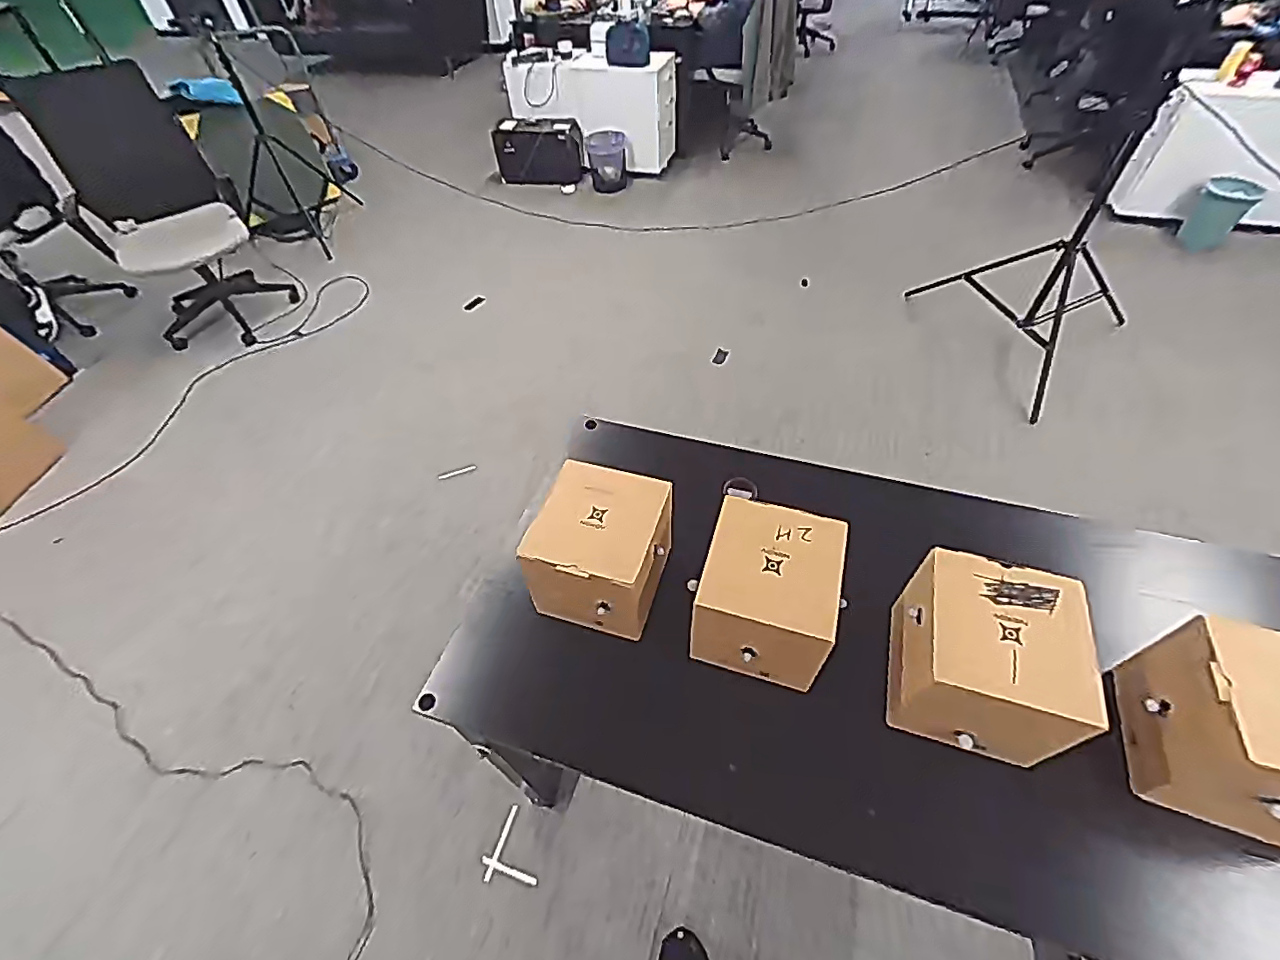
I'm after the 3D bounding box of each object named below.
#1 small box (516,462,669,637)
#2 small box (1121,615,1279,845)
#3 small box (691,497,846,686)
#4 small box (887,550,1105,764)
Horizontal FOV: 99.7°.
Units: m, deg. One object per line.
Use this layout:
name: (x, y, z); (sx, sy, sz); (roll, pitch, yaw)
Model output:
small box: (-0.057, 0.105, 0.796); (0.168, 0.176, 0.179); (13, 51, 12)
small box: (0.683, 0.282, 0.600); (0.179, 0.176, 0.168); (14, 52, 16)
small box: (0.170, 0.155, 0.737); (0.168, 0.176, 0.179); (13, 52, 13)
small box: (0.418, 0.219, 0.669); (0.168, 0.176, 0.179); (13, 52, 14)
